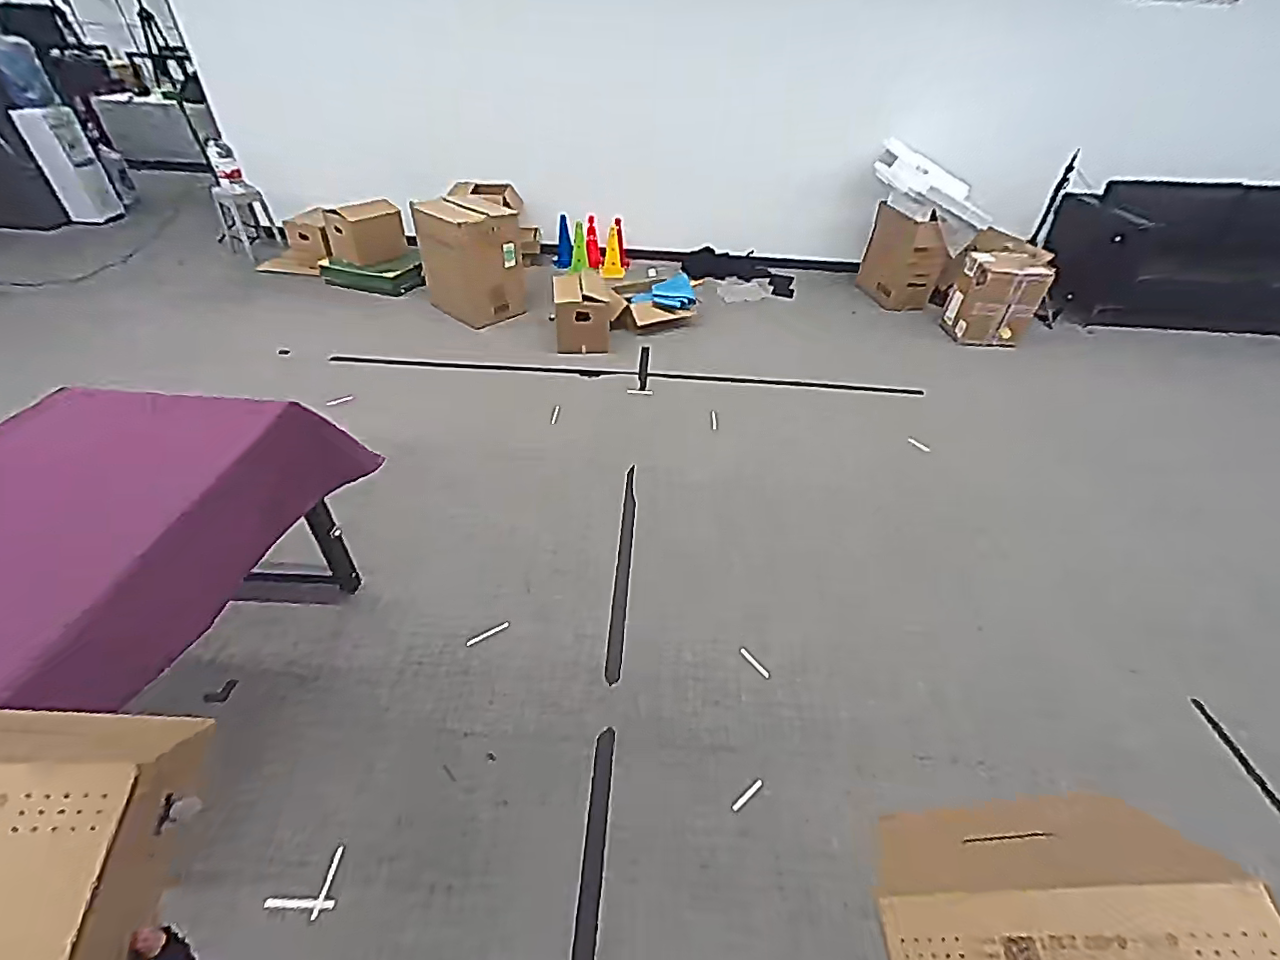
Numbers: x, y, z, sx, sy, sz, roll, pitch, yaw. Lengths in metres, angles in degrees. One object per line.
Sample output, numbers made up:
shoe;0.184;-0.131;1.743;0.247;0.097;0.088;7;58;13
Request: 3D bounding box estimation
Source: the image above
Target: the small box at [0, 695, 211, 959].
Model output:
small box;-0.345;0.197;0.259;0.168;0.179;0.176;14;67;-24
